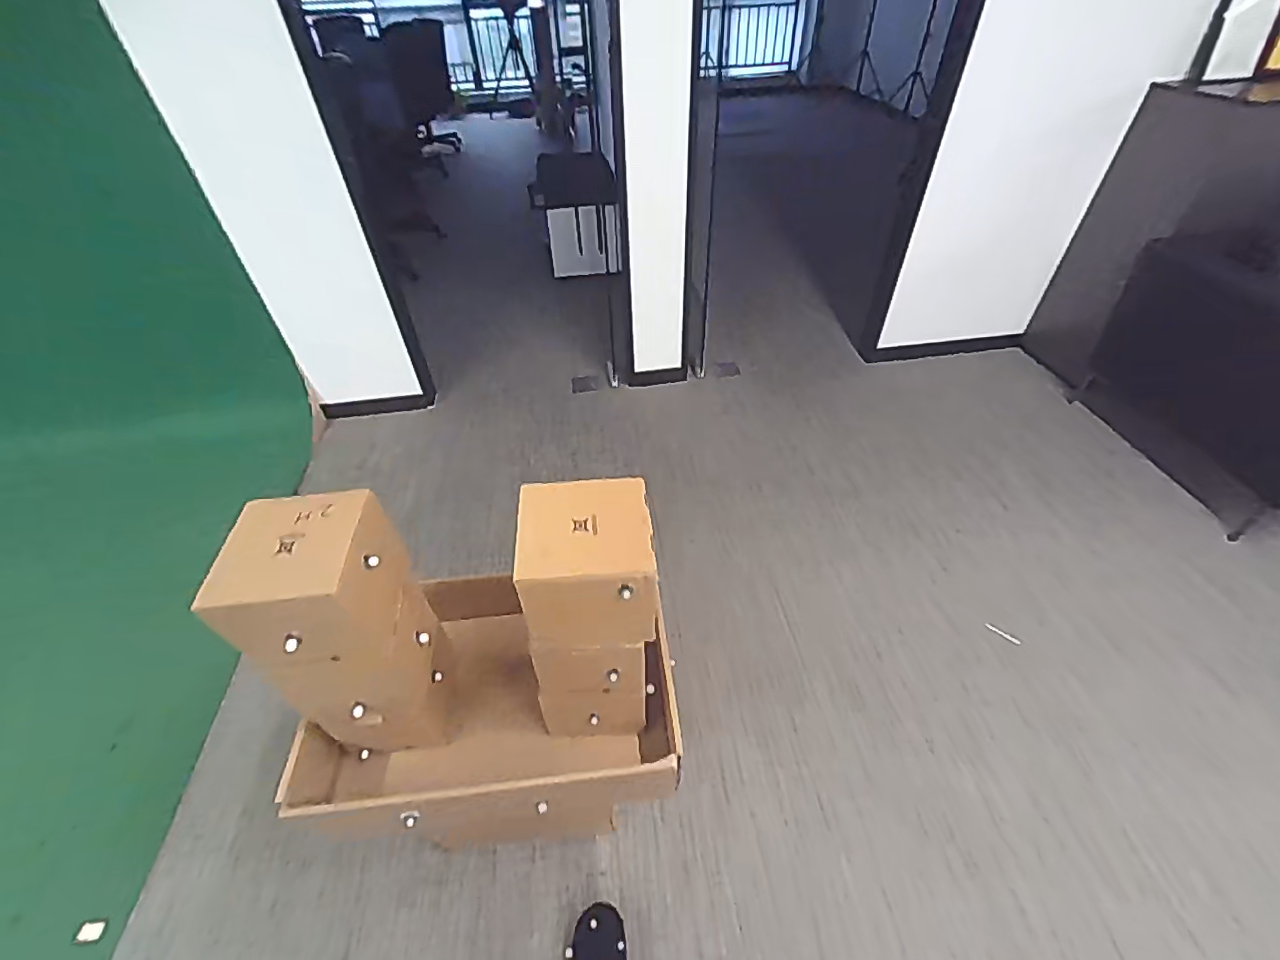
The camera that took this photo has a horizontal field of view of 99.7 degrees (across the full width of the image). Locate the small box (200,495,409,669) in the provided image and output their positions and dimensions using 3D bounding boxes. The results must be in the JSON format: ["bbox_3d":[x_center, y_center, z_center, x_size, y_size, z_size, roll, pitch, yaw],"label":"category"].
[{"bbox_3d":[-0.440,0.146,0.750,0.168,0.176,0.179,-5,44,-3],"label":"small box"}]

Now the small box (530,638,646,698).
[{"bbox_3d":[-0.073,0.238,0.876,0.168,0.176,0.179,0,43,0],"label":"small box"}]

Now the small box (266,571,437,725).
[{"bbox_3d":[-0.439,0.268,0.862,0.179,0.176,0.168,-6,44,-5],"label":"small box"}]

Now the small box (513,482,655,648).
[{"bbox_3d":[-0.073,0.122,0.763,0.179,0.176,0.168,-3,44,-4],"label":"small box"}]
